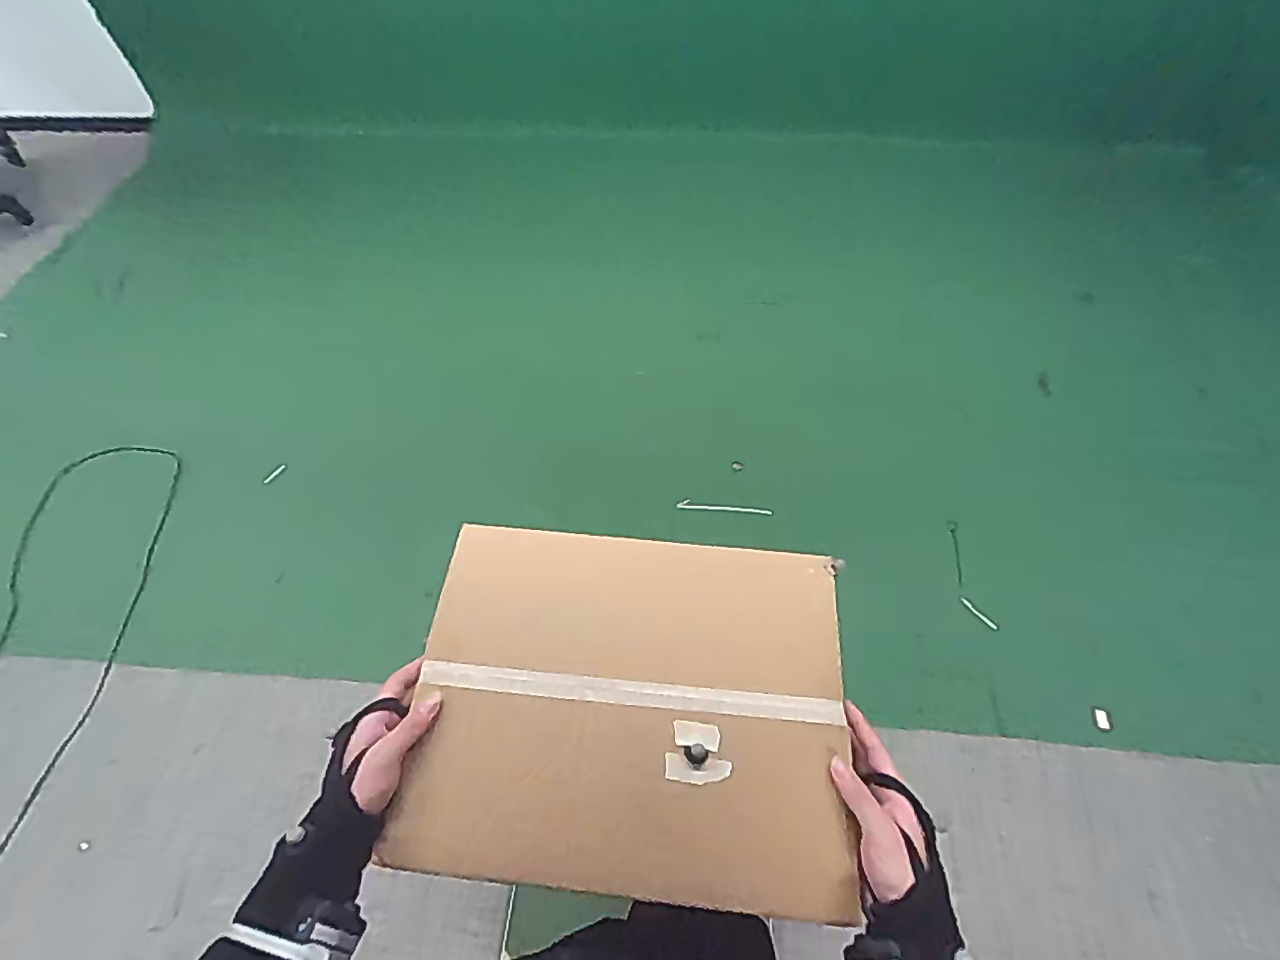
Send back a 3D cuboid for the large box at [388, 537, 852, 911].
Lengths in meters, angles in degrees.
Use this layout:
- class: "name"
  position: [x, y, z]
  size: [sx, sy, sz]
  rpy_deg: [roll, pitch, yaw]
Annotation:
- class: "large box"
  position: [-0.010, 0.283, 0.656]
  size: [0.408, 0.320, 0.320]
  rpy_deg: [5, 61, 3]
